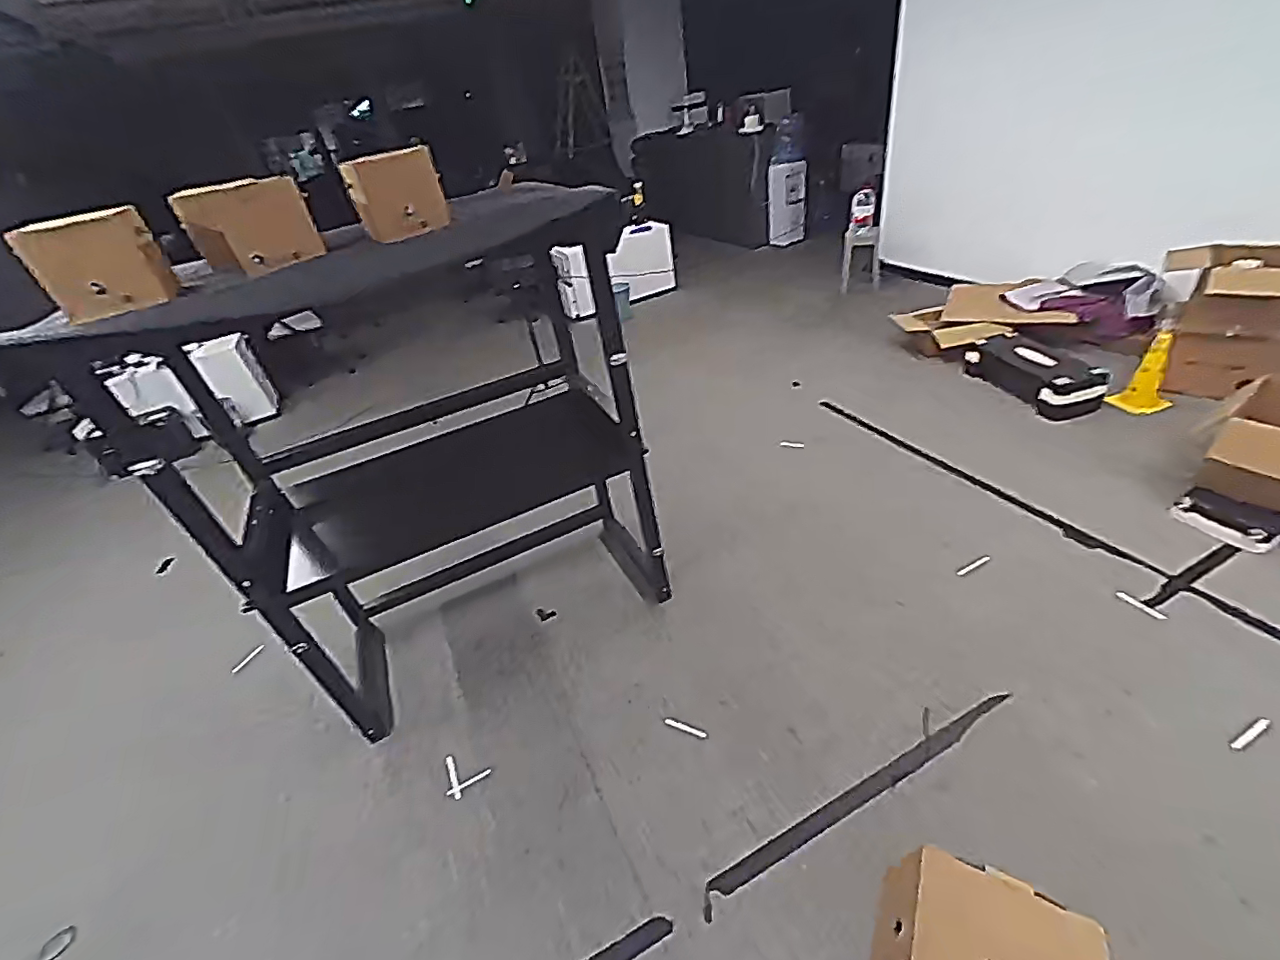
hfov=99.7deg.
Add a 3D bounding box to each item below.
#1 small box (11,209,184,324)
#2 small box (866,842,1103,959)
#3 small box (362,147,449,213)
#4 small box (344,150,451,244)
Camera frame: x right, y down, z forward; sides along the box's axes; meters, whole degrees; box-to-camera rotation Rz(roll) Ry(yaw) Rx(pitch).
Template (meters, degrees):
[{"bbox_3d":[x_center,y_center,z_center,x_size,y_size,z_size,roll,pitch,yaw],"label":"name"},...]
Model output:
[{"bbox_3d":[-1.058,-0.427,1.078,0.168,0.176,0.179,-25,39,-19],"label":"small box"},{"bbox_3d":[0.335,0.517,0.551,0.168,0.176,0.179,17,49,20],"label":"small box"},{"bbox_3d":[-0.633,-0.792,1.471,0.179,0.176,0.168,-21,36,-14],"label":"small box"},{"bbox_3d":[-0.578,-0.675,1.293,0.168,0.176,0.179,-28,39,-22],"label":"small box"}]
